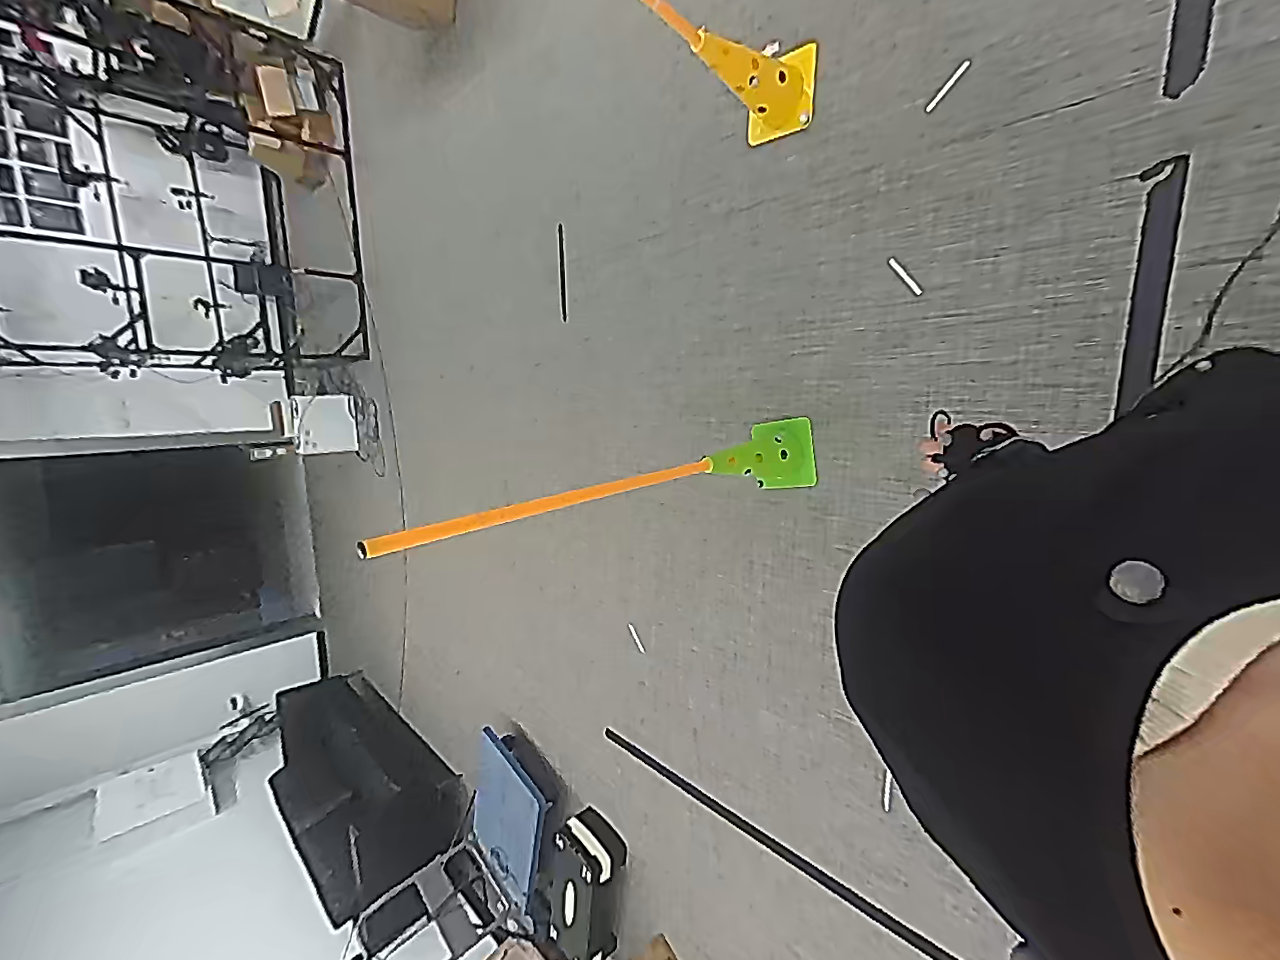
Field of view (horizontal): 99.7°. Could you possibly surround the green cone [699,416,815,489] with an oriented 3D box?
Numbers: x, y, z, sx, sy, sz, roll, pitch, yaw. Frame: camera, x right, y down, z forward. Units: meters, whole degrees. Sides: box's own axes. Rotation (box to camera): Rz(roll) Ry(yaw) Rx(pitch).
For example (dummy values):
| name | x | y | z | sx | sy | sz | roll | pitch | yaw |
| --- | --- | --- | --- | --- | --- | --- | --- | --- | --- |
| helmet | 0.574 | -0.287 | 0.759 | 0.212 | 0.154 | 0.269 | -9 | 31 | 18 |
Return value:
| name | x | y | z | sx | sy | sz | roll | pitch | yaw |
| --- | --- | --- | --- | --- | --- | --- | --- | --- | --- |
| green cone | 0.295 | -0.063 | 1.470 | 0.200 | 0.368 | 0.202 | -6 | 91 | 47 |
